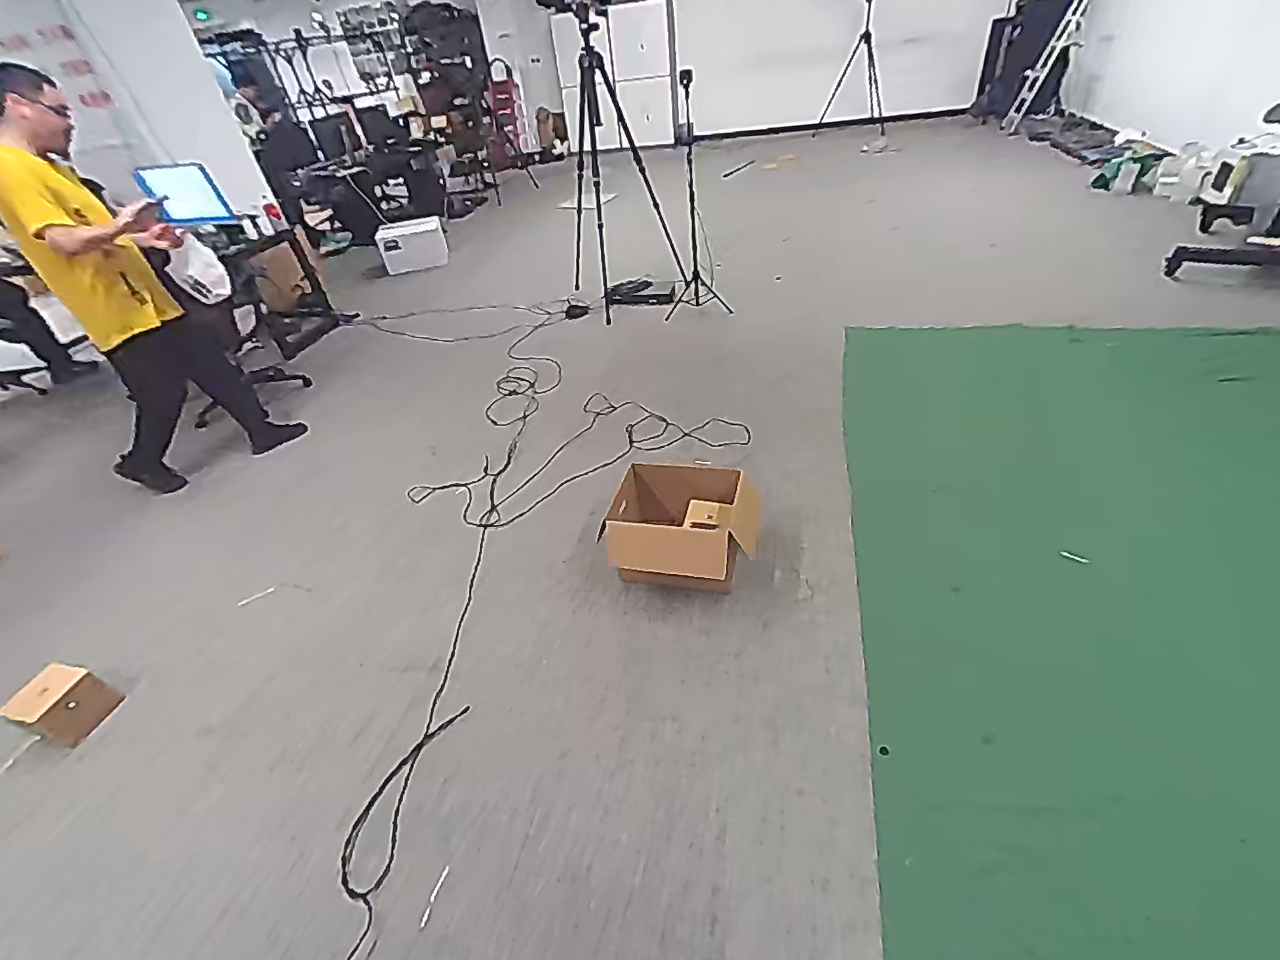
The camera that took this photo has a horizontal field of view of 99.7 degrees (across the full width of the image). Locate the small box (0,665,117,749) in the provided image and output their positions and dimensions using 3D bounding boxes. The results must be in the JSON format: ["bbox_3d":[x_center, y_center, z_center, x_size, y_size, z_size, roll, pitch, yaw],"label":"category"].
[{"bbox_3d":[-1.819,0.714,1.703,0.168,0.176,0.179,3,42,13],"label":"small box"}]
